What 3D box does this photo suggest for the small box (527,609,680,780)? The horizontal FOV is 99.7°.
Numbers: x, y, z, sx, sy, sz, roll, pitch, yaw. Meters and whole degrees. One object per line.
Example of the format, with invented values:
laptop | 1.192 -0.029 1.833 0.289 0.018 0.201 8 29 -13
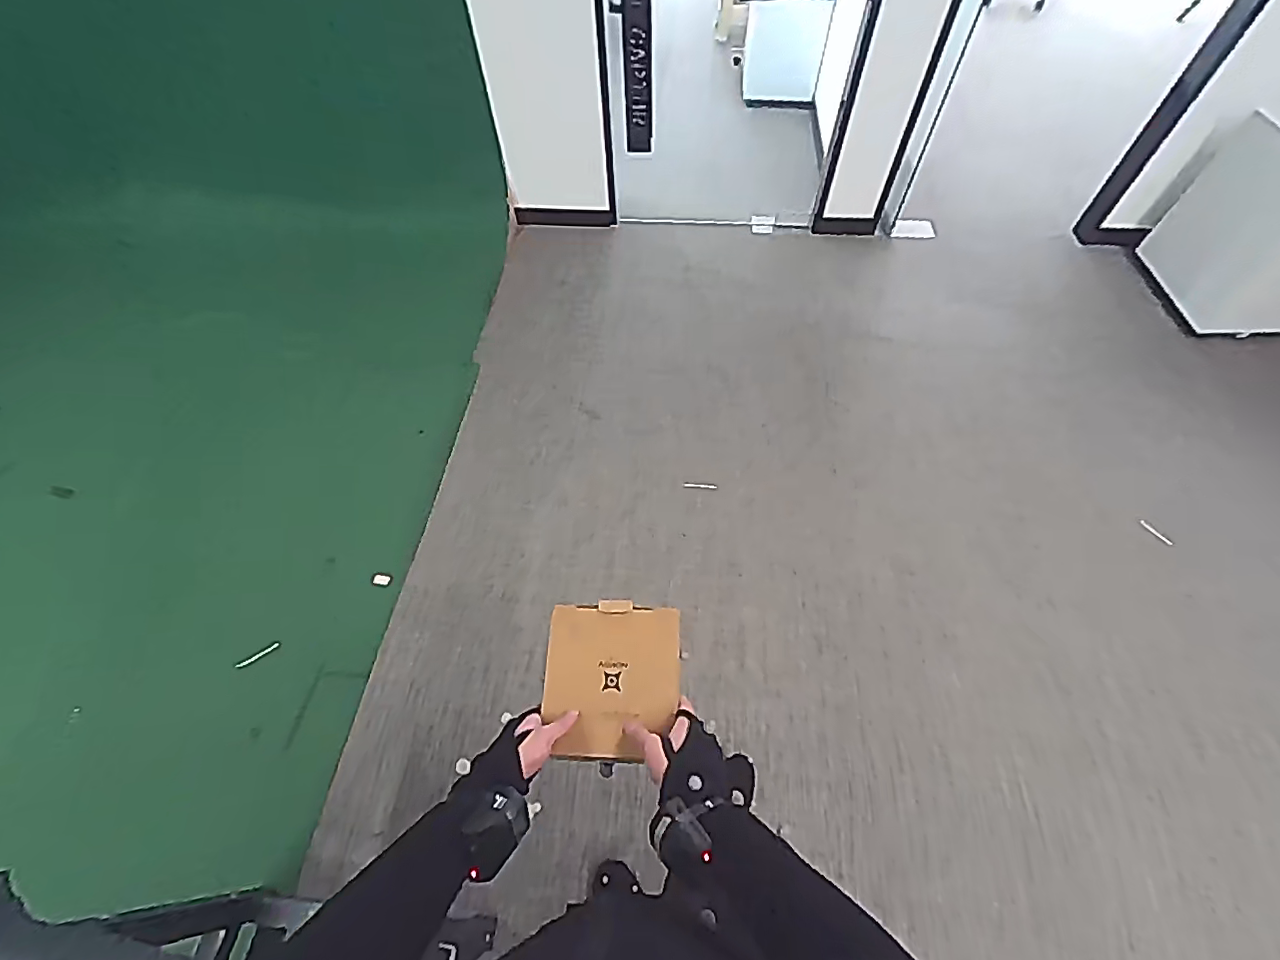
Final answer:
small box | -0.036 0.283 0.705 0.168 0.176 0.179 2 59 5
